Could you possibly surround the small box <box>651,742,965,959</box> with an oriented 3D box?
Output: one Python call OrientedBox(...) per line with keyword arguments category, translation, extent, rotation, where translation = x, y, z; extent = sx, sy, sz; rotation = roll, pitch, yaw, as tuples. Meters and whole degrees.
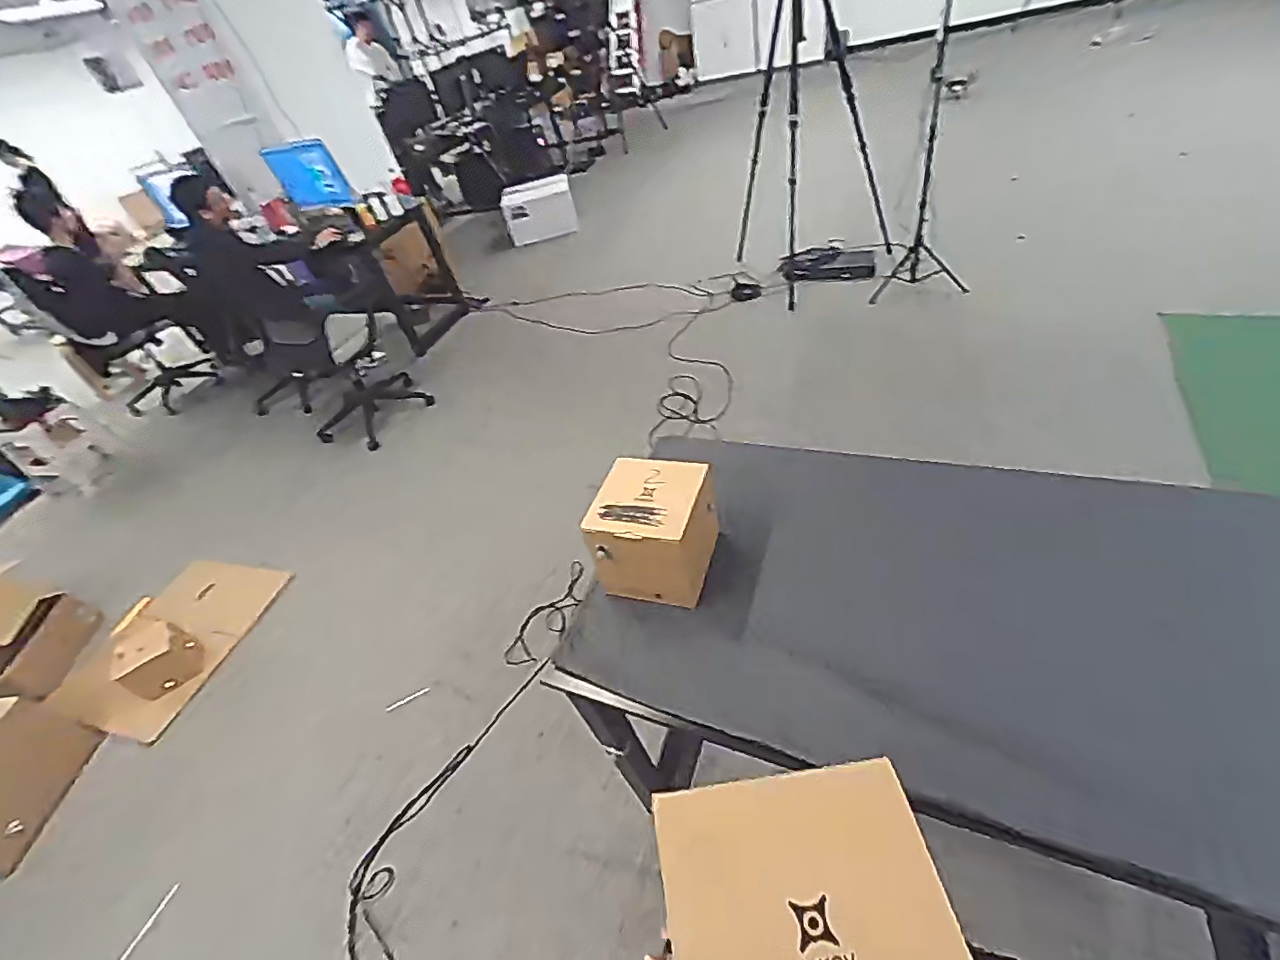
OrientedBox(category="small box", translation=(0.100, 0.307, 0.372), extent=(0.168, 0.176, 0.179), rotation=(-8, 48, -1))
